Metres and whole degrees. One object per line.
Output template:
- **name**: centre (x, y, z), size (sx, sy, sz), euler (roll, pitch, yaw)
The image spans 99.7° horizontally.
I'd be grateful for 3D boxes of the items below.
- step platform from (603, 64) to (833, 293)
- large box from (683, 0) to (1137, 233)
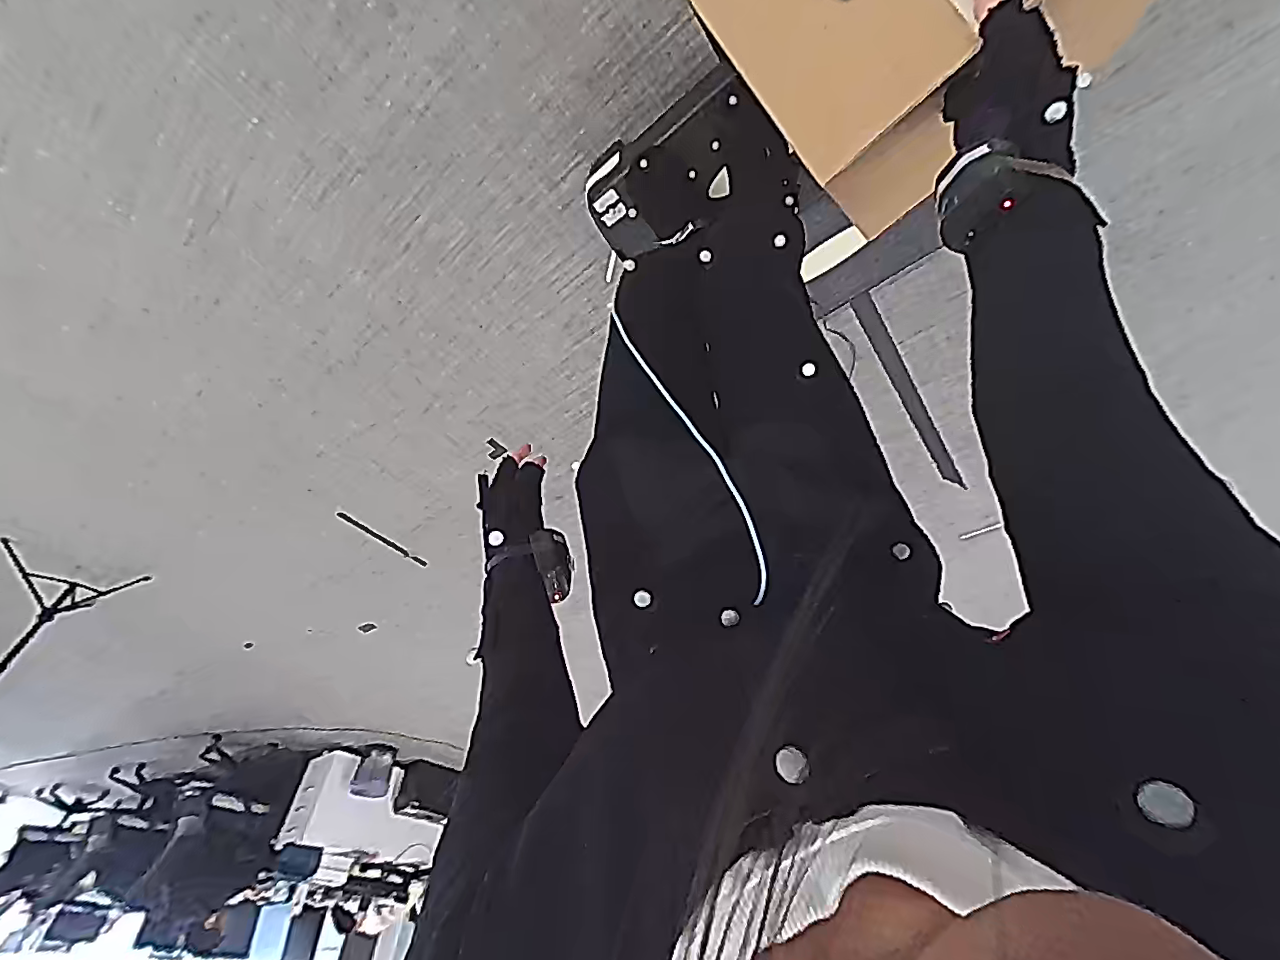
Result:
- **step platform**: centre (0.256, -0.661, 0.995), size (0.684, 0.204, 0.286), euler (-30, 128, 28)
- **large box**: centre (0.249, -0.547, 0.572), size (0.320, 0.320, 0.408), euler (-37, 83, 34)
